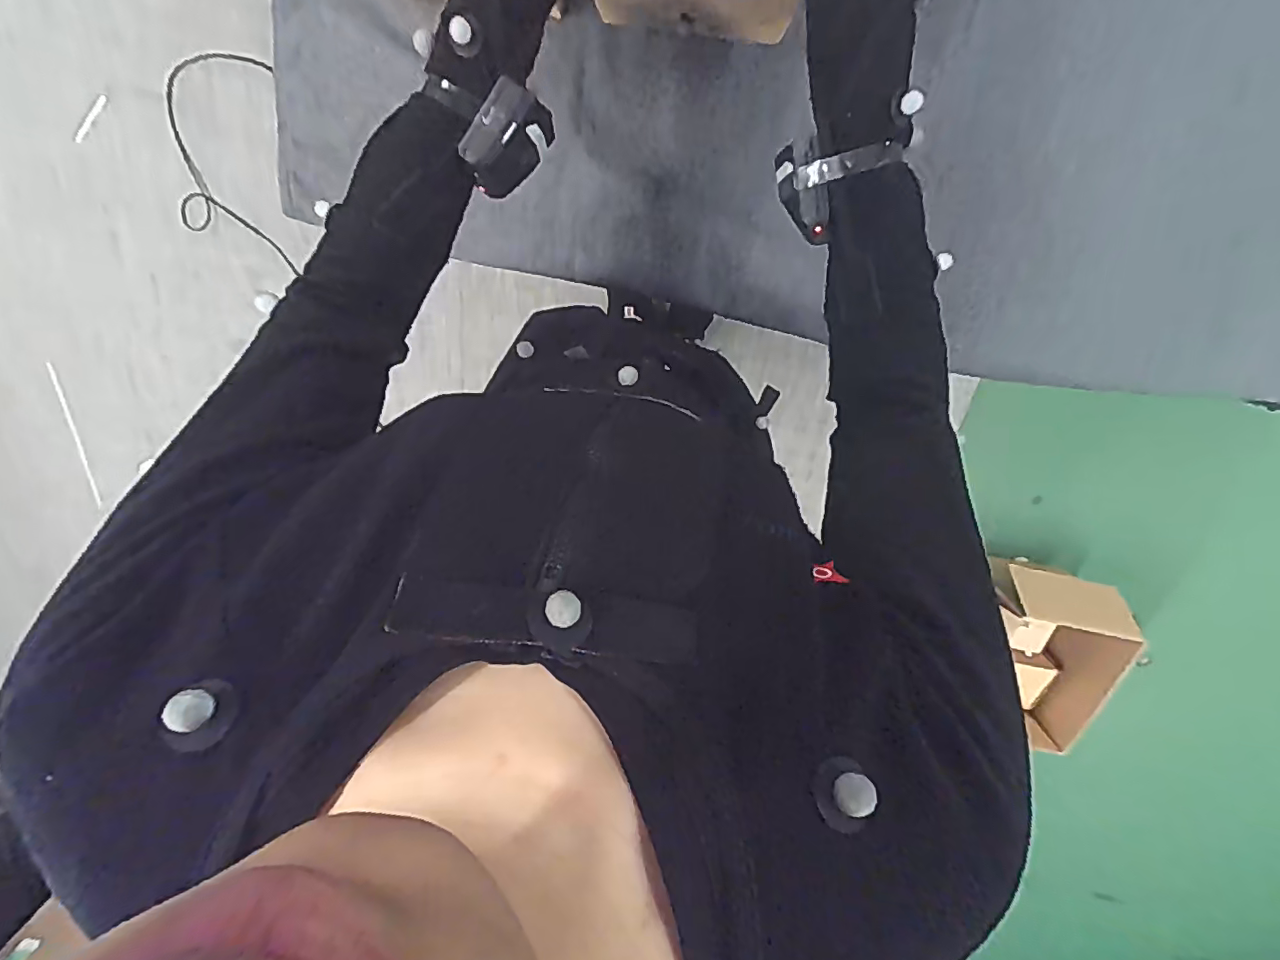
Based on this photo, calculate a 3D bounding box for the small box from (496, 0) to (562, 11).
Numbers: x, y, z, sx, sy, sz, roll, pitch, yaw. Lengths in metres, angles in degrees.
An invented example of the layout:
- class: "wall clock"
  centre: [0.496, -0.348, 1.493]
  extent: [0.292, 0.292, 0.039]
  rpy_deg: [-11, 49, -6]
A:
- class: "small box"
  centre: [-0.145, -0.521, 0.426]
  extent: [0.168, 0.176, 0.179]
  rpy_deg: [10, 115, 0]
